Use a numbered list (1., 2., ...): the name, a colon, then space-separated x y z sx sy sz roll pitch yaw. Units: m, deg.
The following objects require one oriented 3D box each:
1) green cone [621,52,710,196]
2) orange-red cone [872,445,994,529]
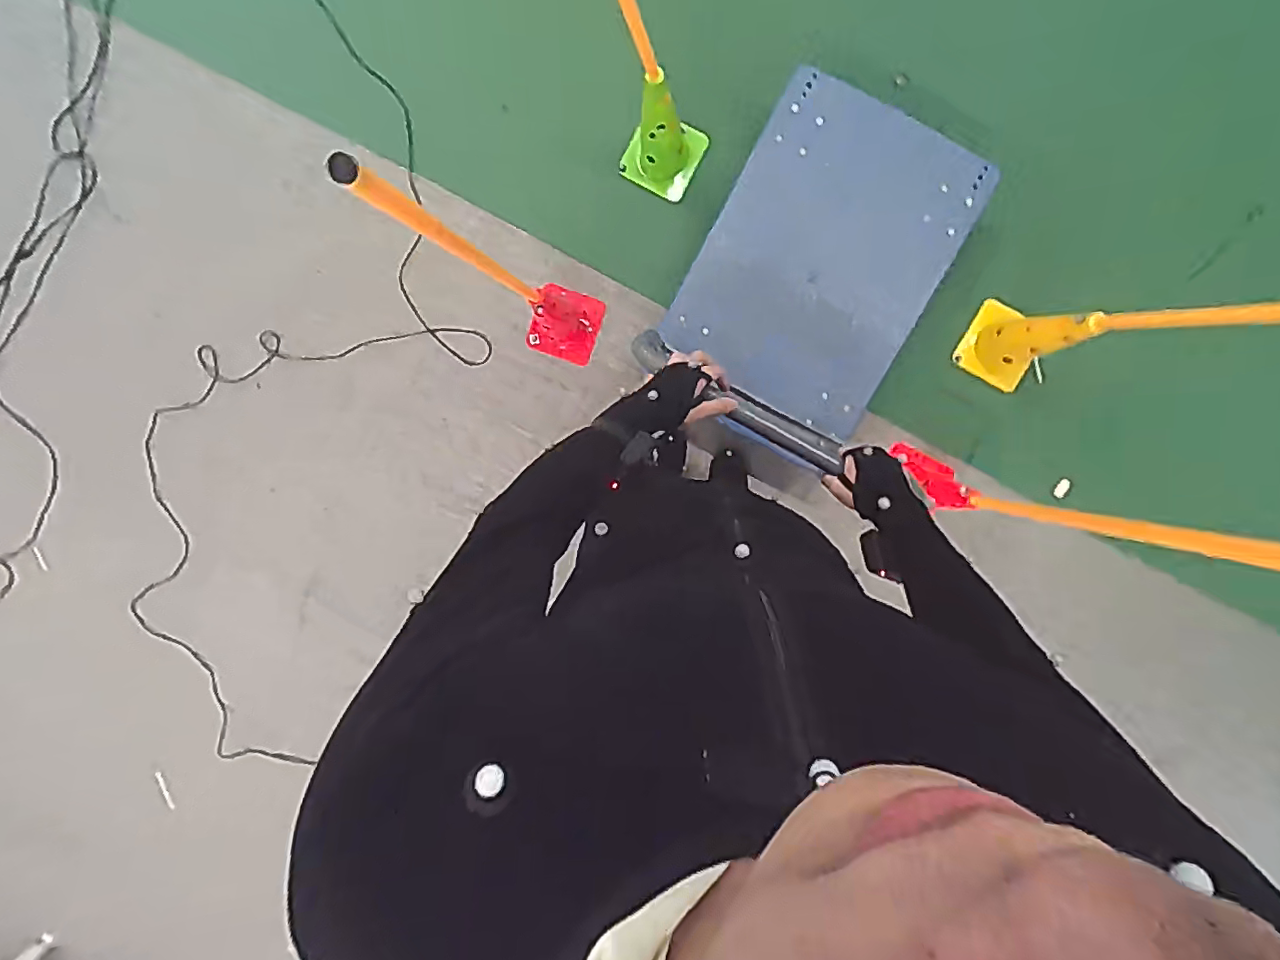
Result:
1. green cone: 0.058 -0.908 1.339 0.200 0.368 0.202 29 96 2
2. orange-red cone: 0.782 0.035 1.384 0.198 0.360 0.199 29 95 0
